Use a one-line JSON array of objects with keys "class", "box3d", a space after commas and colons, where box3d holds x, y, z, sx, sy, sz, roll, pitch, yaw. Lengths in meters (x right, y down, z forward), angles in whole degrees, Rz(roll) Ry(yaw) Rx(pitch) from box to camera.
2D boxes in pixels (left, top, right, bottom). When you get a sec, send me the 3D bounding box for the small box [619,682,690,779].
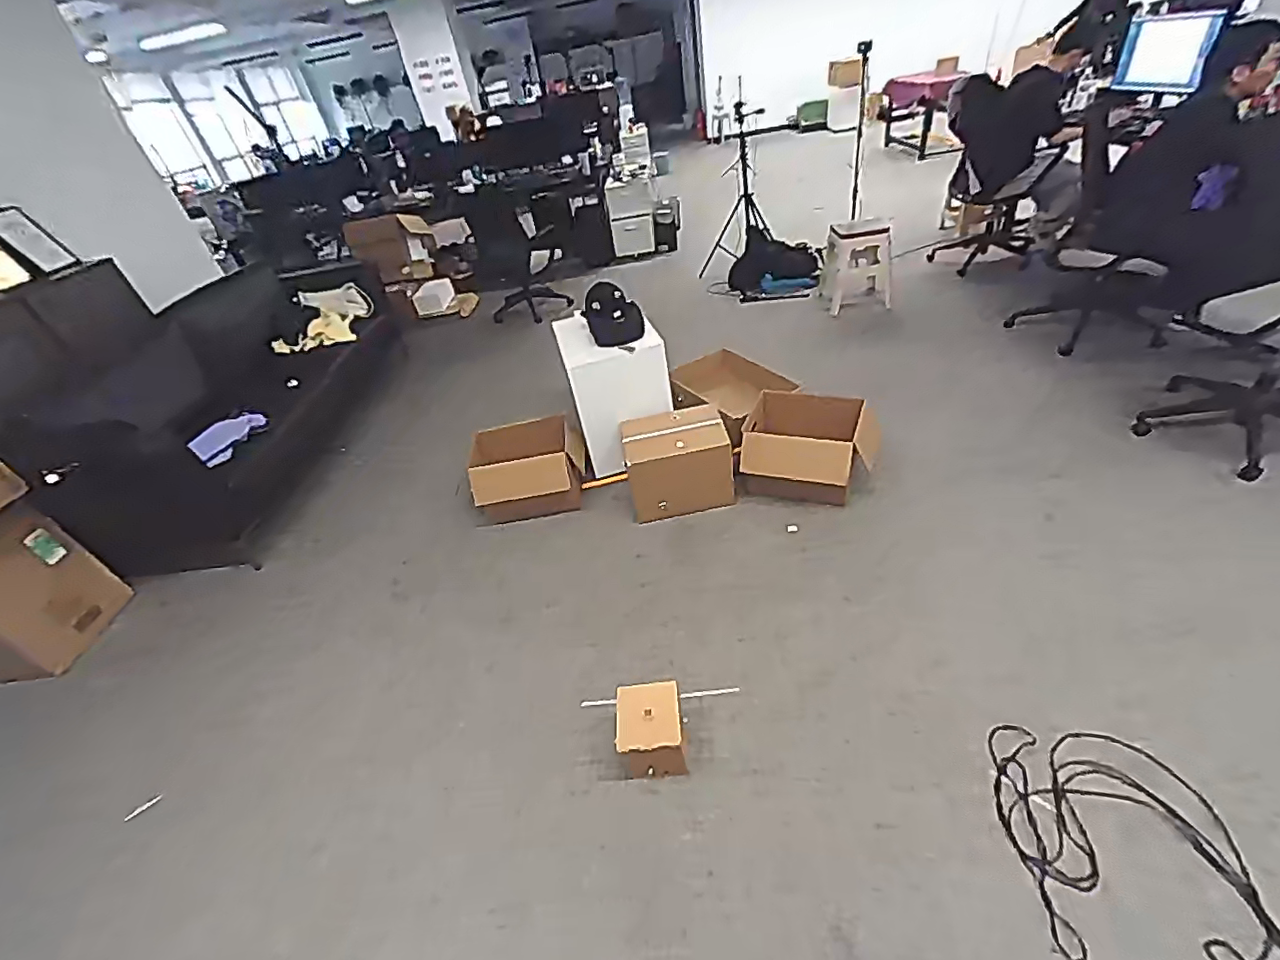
[{"class": "small box", "box3d": [0.039, 0.671, 1.447, 0.168, 0.176, 0.179, -9, 39, 5]}]
